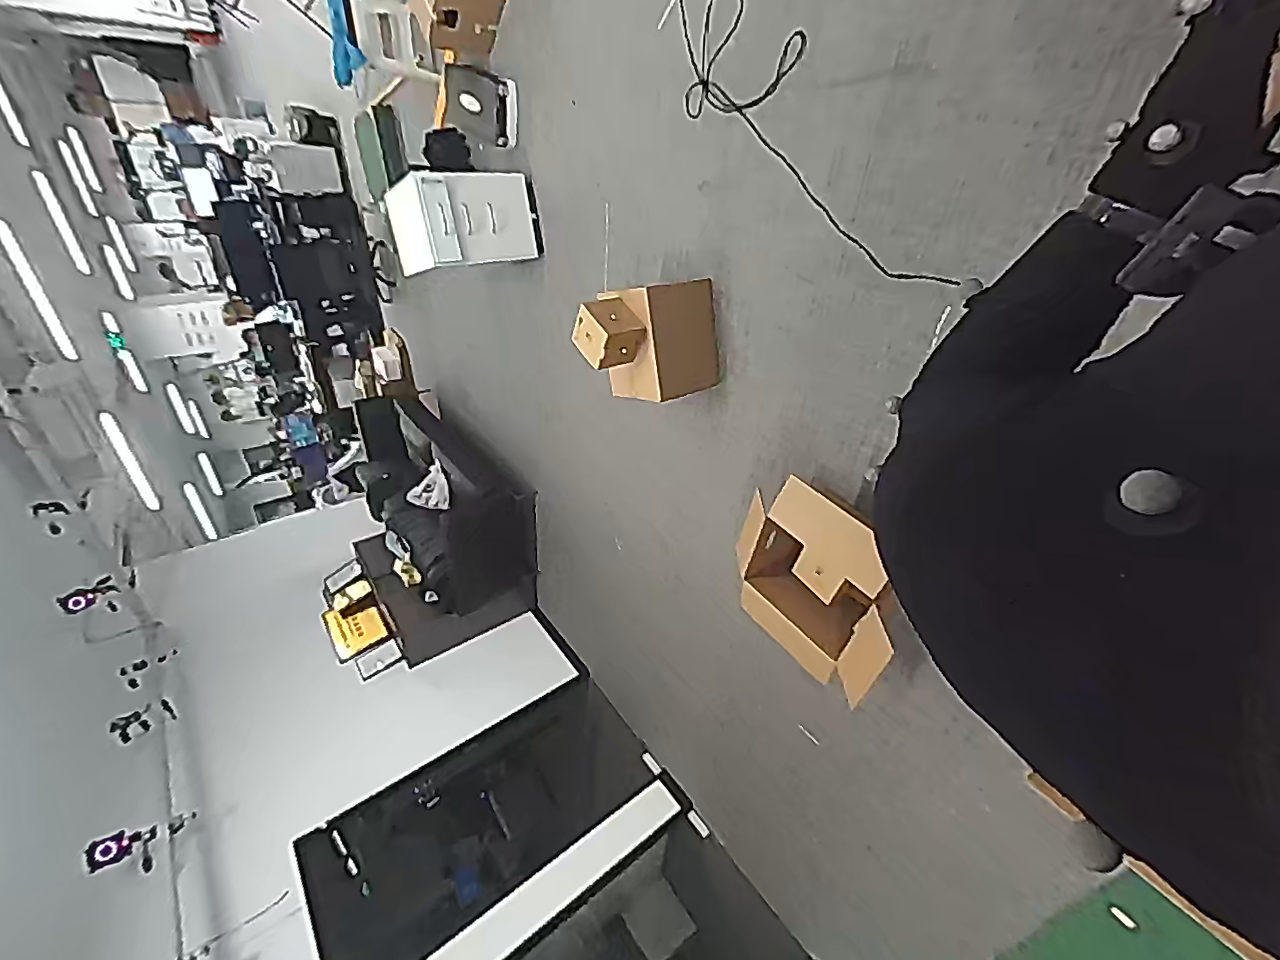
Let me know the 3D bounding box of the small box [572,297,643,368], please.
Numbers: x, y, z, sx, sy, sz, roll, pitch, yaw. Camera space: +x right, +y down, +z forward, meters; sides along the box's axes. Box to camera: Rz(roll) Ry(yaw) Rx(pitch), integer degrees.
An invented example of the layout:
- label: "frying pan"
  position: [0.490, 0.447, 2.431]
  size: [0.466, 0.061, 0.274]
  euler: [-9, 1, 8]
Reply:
- label: "small box"
  position: [-0.115, -0.534, 1.935]
  size: [0.179, 0.176, 0.168]
  euler: [52, 143, 21]
